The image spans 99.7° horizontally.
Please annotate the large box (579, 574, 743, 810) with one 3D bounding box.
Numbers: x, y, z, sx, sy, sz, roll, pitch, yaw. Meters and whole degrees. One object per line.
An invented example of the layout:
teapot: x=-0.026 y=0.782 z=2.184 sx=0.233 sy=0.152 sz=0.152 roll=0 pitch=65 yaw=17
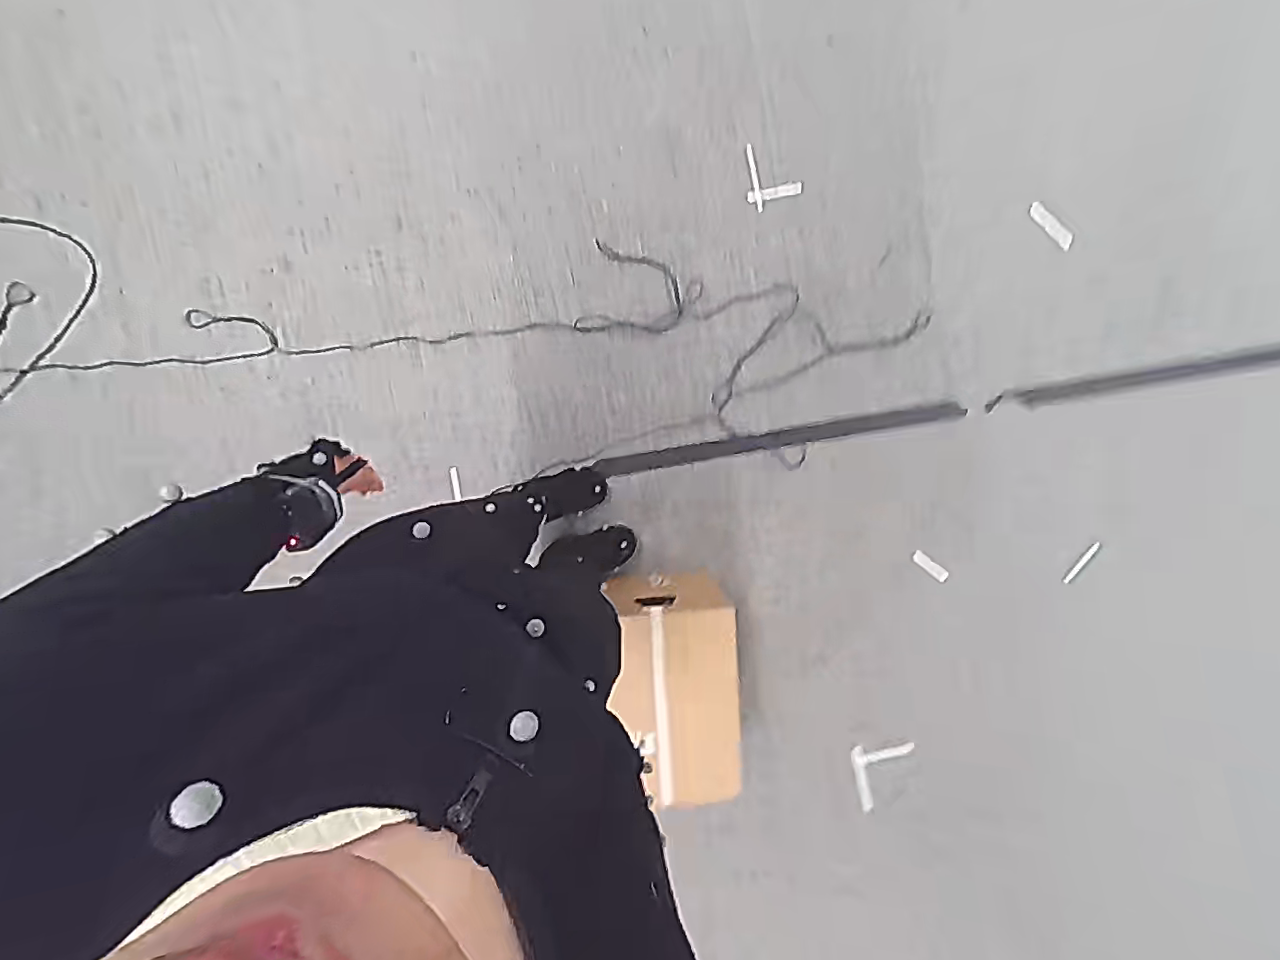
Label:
large box: x=0.040 y=0.456 z=1.244 sx=0.320 sy=0.320 sz=0.408 roll=-4 pitch=94 yaw=-1
